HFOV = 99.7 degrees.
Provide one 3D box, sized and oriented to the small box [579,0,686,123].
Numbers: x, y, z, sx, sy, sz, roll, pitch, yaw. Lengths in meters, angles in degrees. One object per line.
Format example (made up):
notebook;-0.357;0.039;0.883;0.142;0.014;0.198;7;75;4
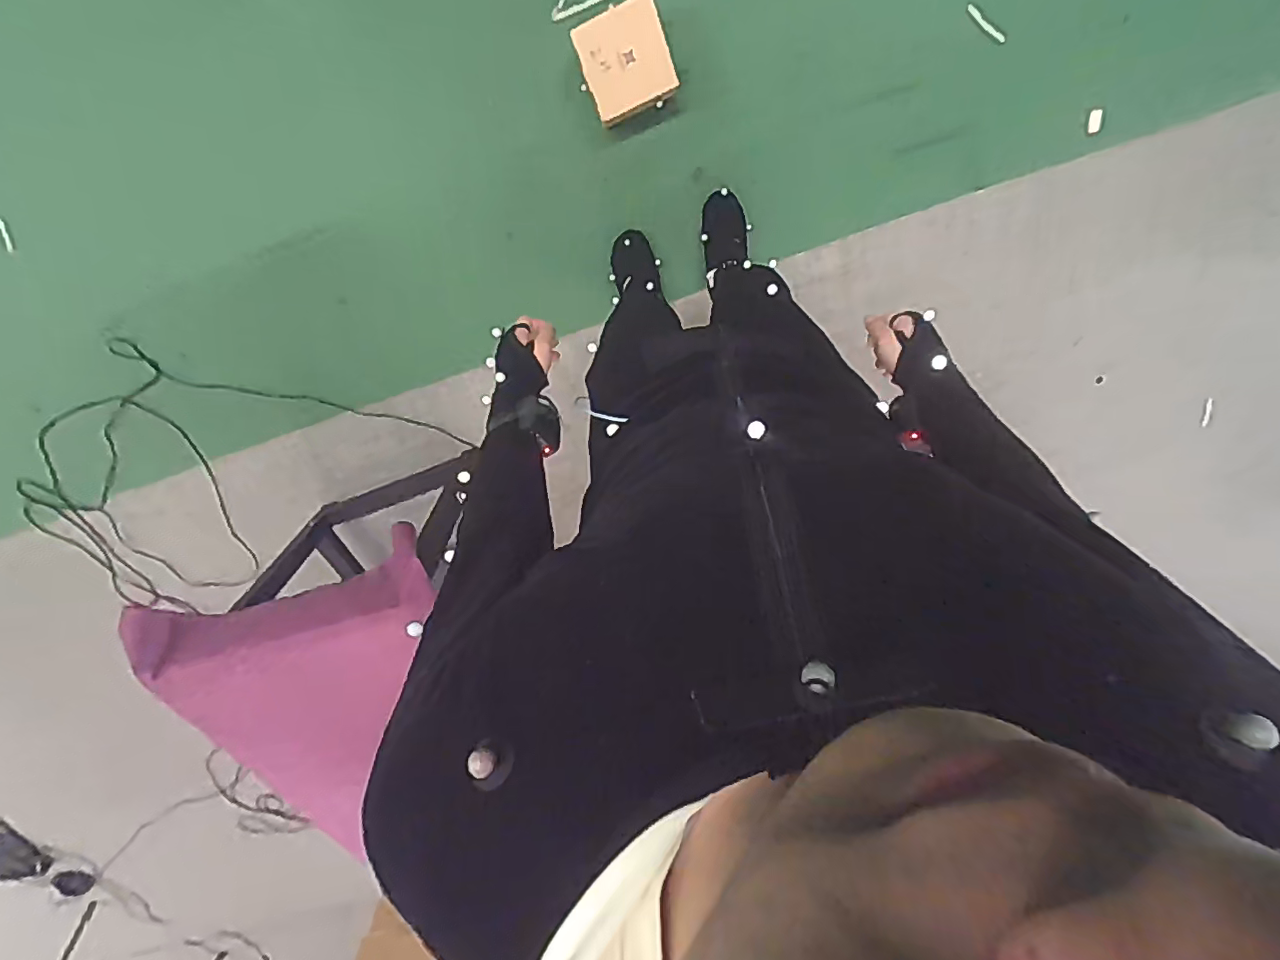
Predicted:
small box;-0.018;-0.892;1.154;0.179;0.176;0.168;-21;118;9
